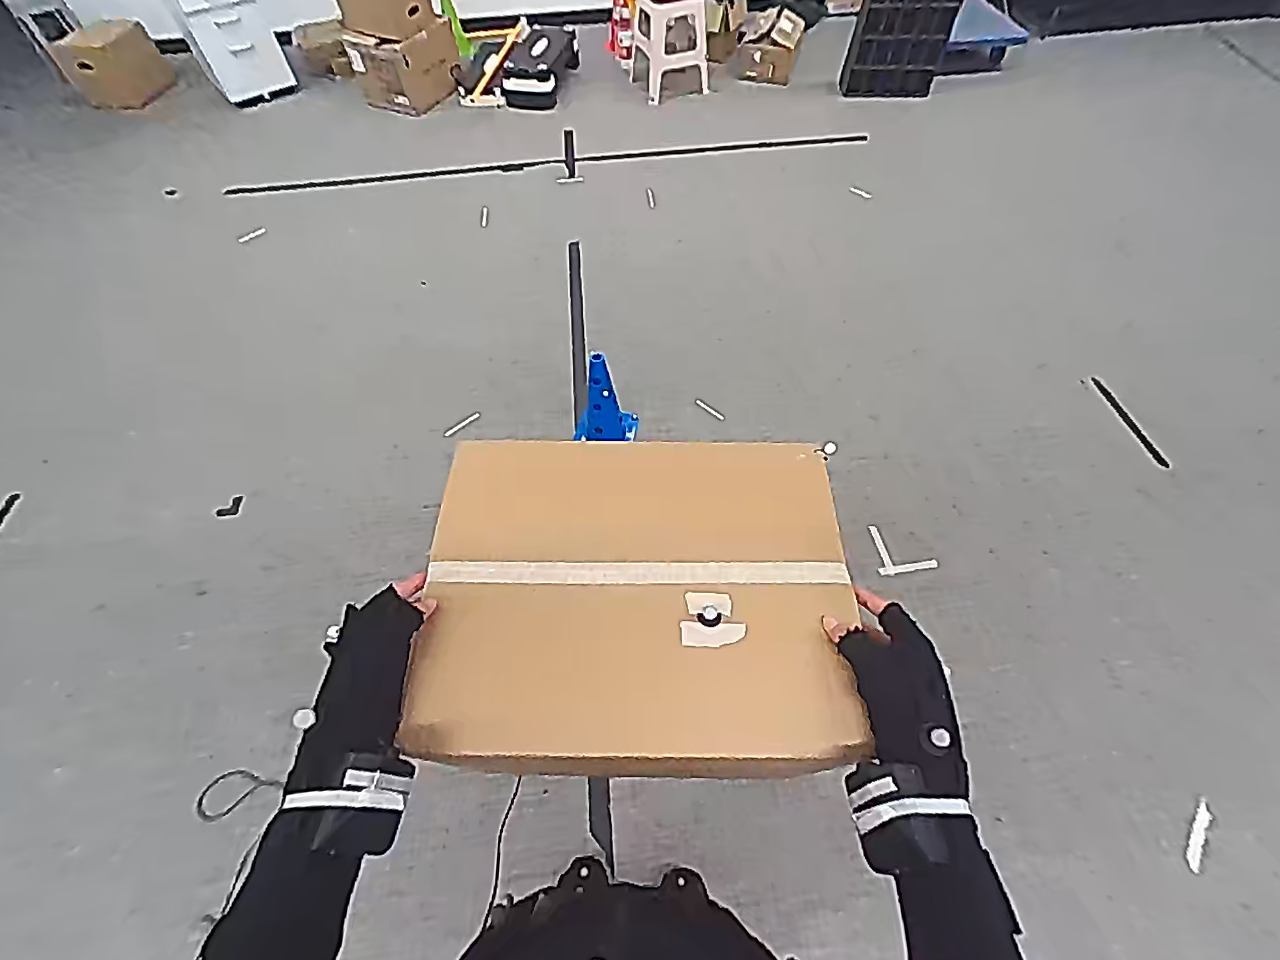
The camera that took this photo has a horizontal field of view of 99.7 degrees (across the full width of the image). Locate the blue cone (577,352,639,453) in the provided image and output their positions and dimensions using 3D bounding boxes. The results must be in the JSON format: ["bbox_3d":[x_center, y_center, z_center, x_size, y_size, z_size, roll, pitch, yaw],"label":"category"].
[{"bbox_3d":[-0.113,-0.250,1.720,0.193,0.380,0.192,12,58,9],"label":"blue cone"}]

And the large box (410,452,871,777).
[{"bbox_3d":[-0.001,0.177,0.662,0.408,0.320,0.320,1,58,1],"label":"large box"}]
